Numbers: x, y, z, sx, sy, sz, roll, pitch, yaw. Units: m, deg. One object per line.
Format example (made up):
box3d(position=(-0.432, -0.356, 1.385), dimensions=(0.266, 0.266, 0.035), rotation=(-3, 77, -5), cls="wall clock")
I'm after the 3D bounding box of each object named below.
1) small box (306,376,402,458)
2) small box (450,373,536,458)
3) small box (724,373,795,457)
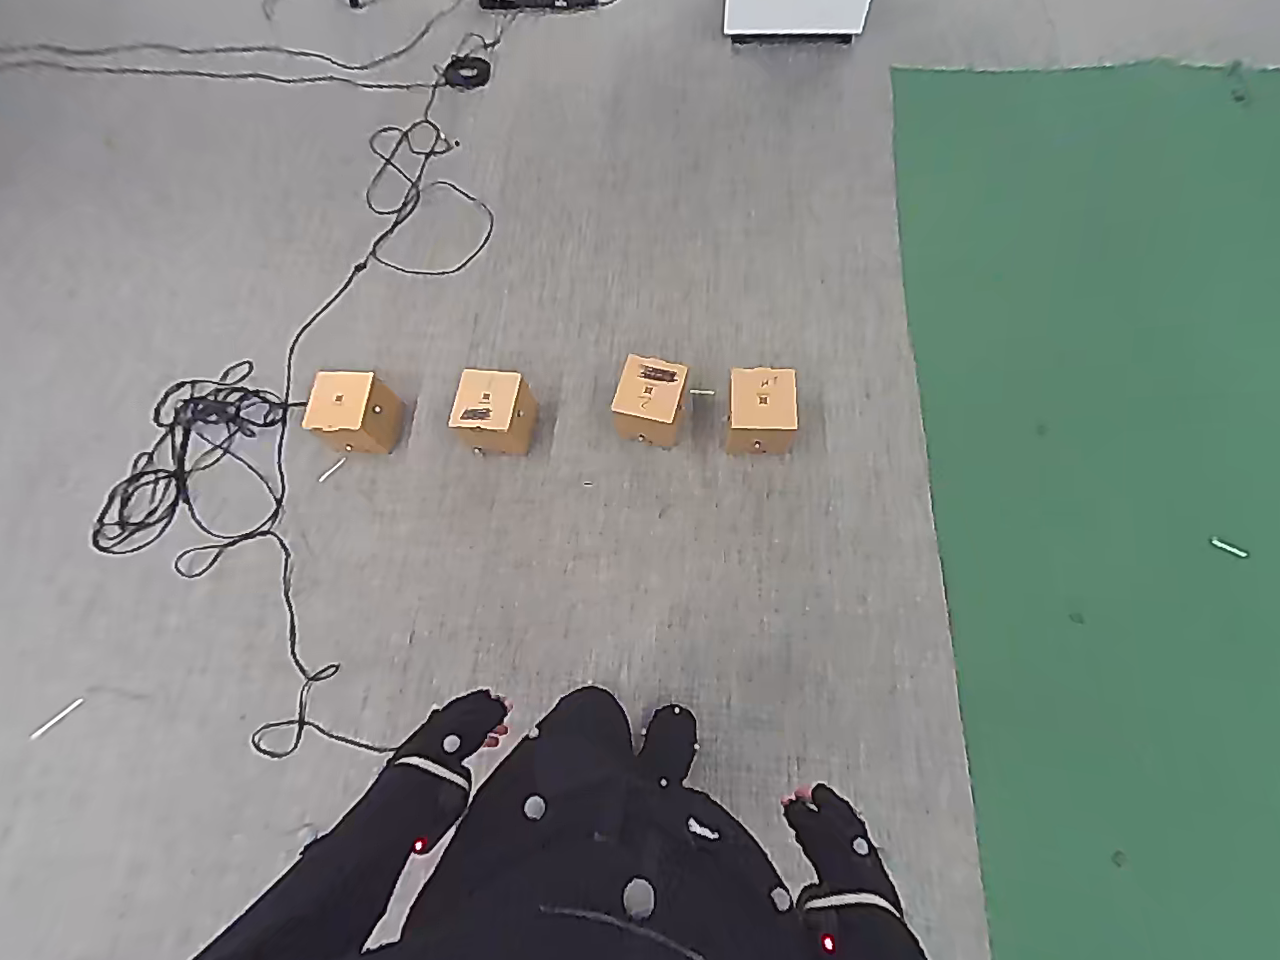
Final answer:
box3d(position=(-0.802, -0.177, 1.537), dimensions=(0.168, 0.176, 0.179), rotation=(1, 70, 5), cls="small box")
box3d(position=(-0.400, -0.174, 1.504), dimensions=(0.168, 0.176, 0.179), rotation=(5, 70, 7), cls="small box")
box3d(position=(0.317, -0.169, 1.455), dimensions=(0.168, 0.176, 0.179), rotation=(2, 70, 4), cls="small box")
